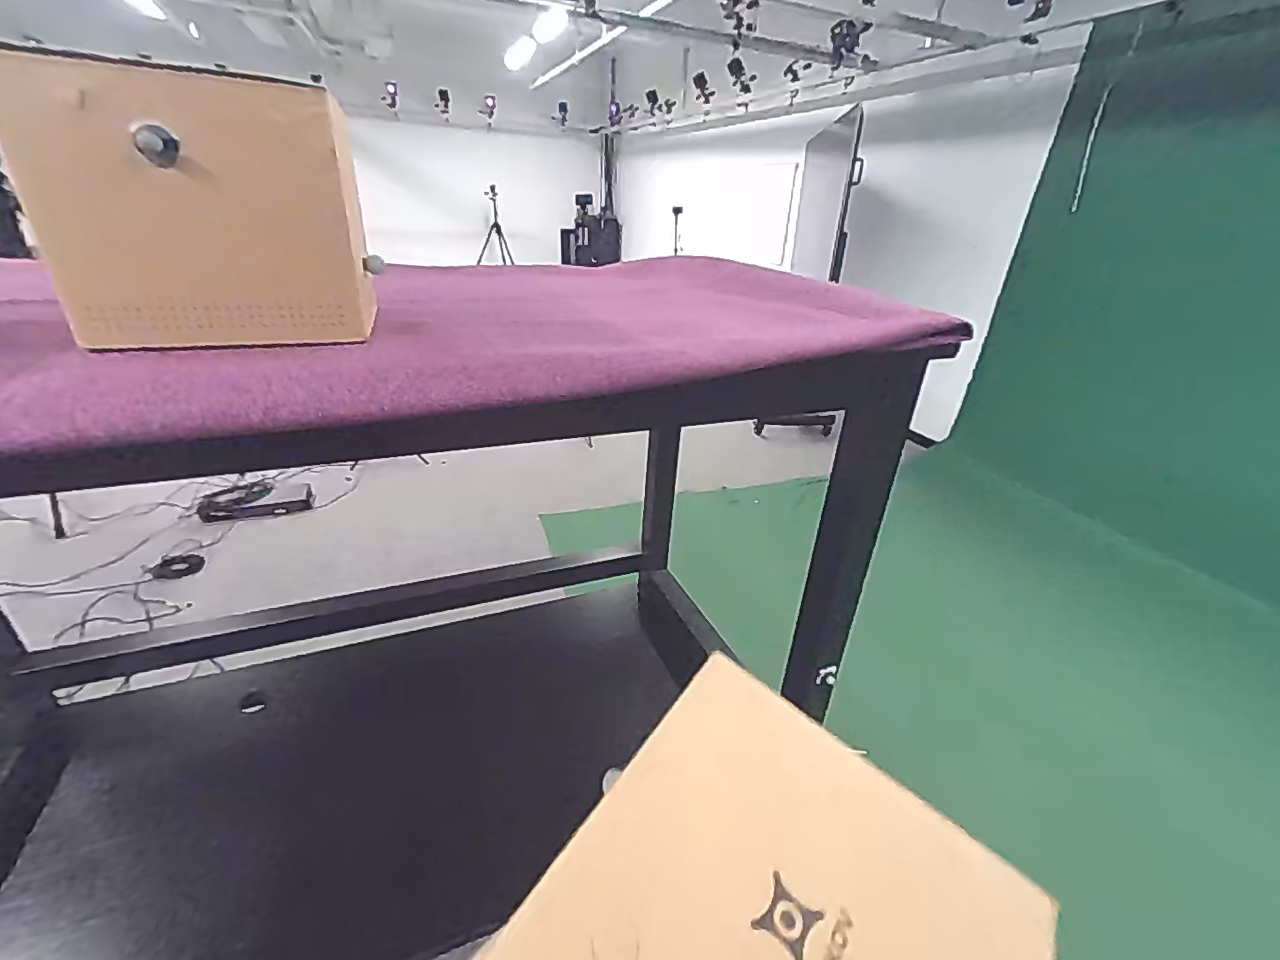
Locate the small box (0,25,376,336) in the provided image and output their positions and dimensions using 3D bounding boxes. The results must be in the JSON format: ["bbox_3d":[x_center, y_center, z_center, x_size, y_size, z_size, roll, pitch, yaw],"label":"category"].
[{"bbox_3d":[-0.316,-0.209,0.414,0.179,0.176,0.168,-7,28,-21],"label":"small box"}]
